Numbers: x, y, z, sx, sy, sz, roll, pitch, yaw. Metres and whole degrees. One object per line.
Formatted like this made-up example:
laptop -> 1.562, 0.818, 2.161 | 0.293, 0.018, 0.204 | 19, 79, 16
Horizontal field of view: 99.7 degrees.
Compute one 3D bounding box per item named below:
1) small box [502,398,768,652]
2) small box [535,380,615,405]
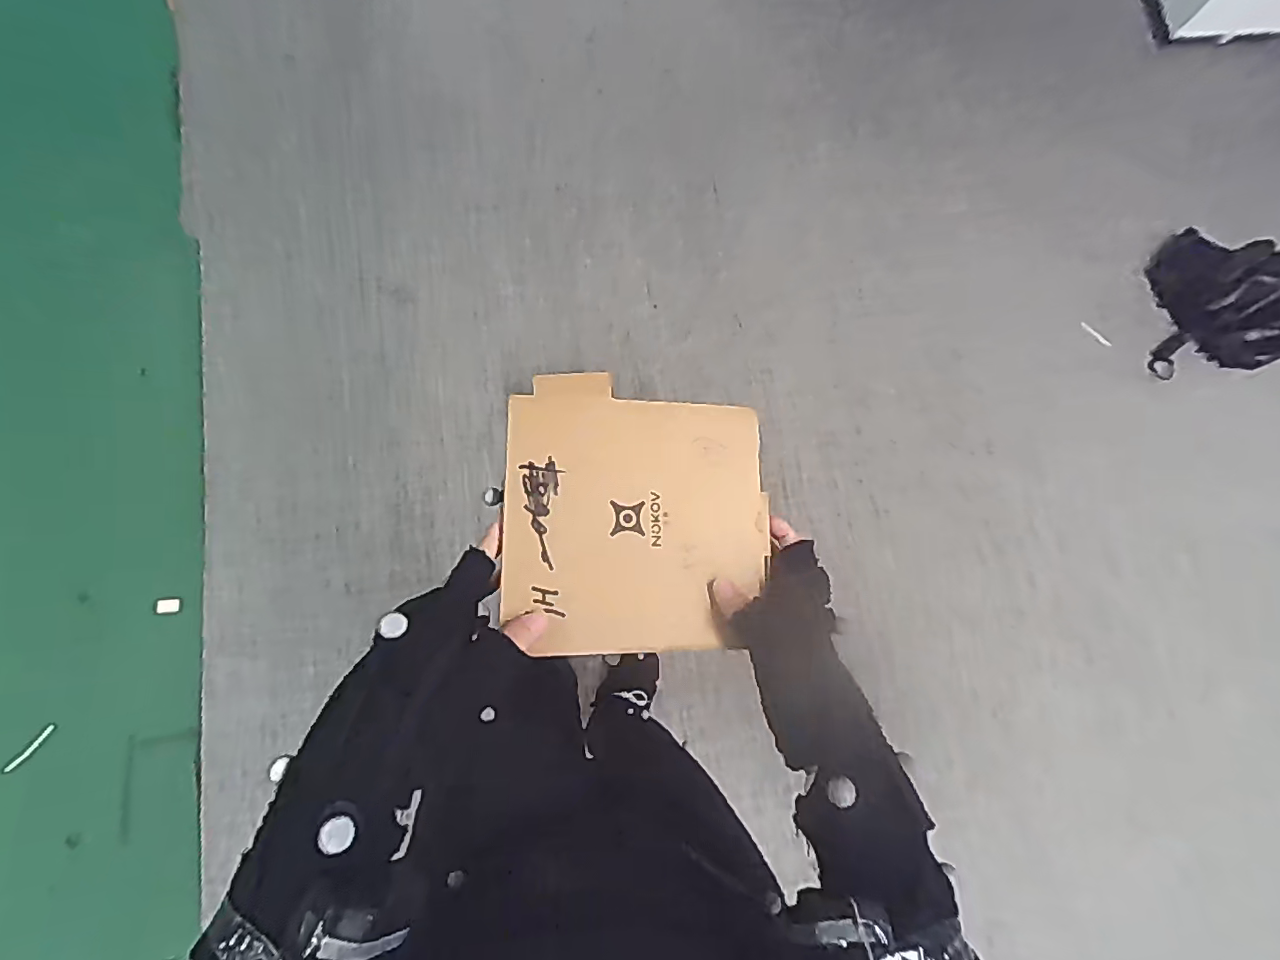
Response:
small box -> -0.016, 0.046, 0.436 | 0.179, 0.176, 0.168 | 2, 75, -12
small box -> -0.143, -0.123, 1.263 | 0.179, 0.176, 0.168 | -4, 79, -3
